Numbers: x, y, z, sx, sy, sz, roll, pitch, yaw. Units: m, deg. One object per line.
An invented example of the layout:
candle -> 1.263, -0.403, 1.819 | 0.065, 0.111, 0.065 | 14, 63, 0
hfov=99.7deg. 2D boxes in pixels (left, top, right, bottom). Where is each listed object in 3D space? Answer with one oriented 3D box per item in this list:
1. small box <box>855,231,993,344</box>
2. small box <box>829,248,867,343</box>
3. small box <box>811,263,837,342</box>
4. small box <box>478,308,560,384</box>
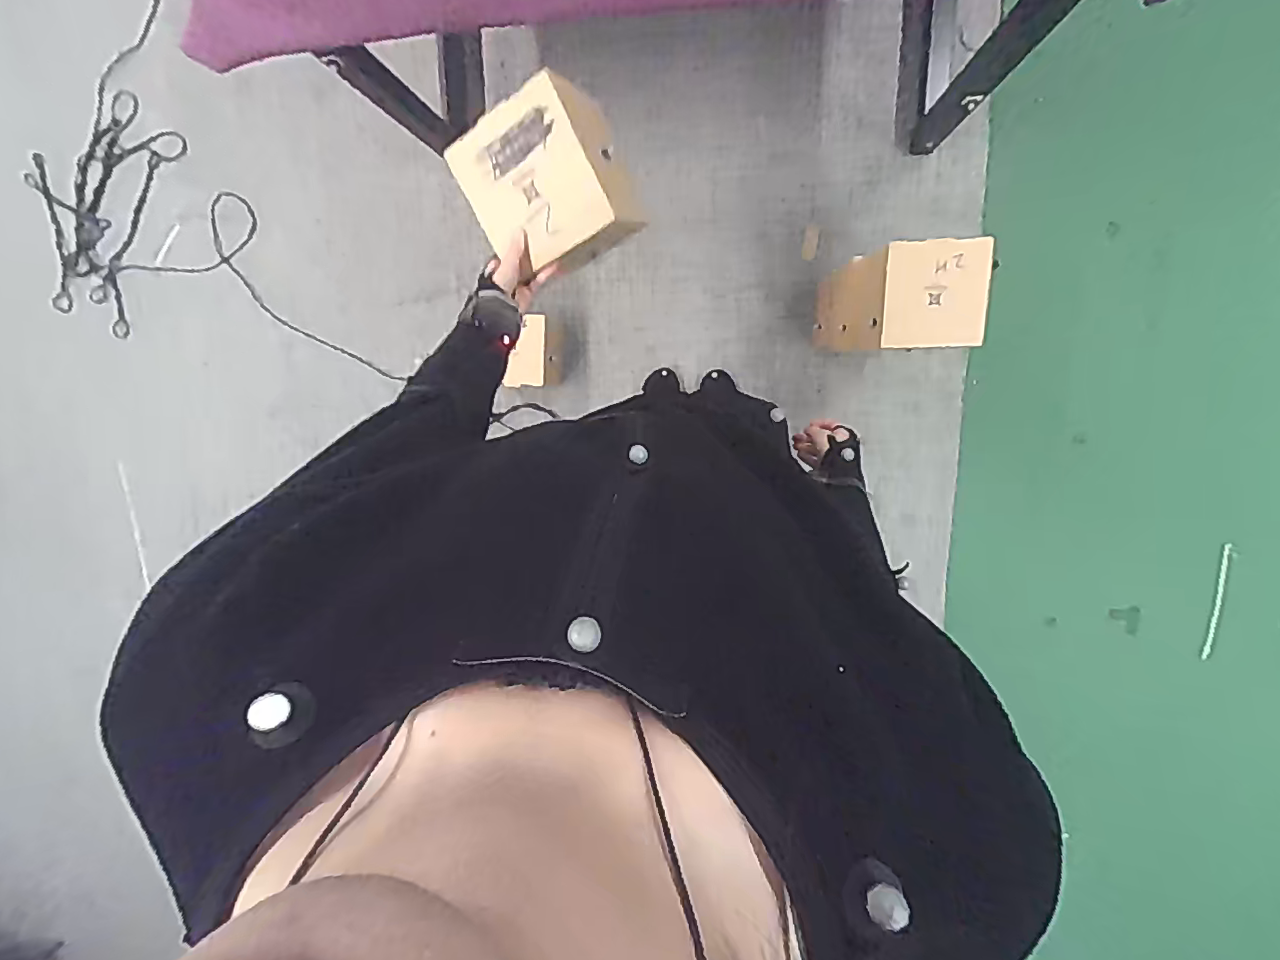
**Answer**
small box -> 0.497, -0.338, 0.976 | 0.168, 0.176, 0.179 | 1, 104, 6
small box -> 0.502, -0.383, 1.136 | 0.168, 0.176, 0.179 | 0, 103, 7
small box -> 0.516, -0.418, 1.293 | 0.179, 0.176, 0.168 | 2, 102, 6
small box -> -0.310, -0.349, 1.409 | 0.168, 0.176, 0.179 | 5, 103, 6
